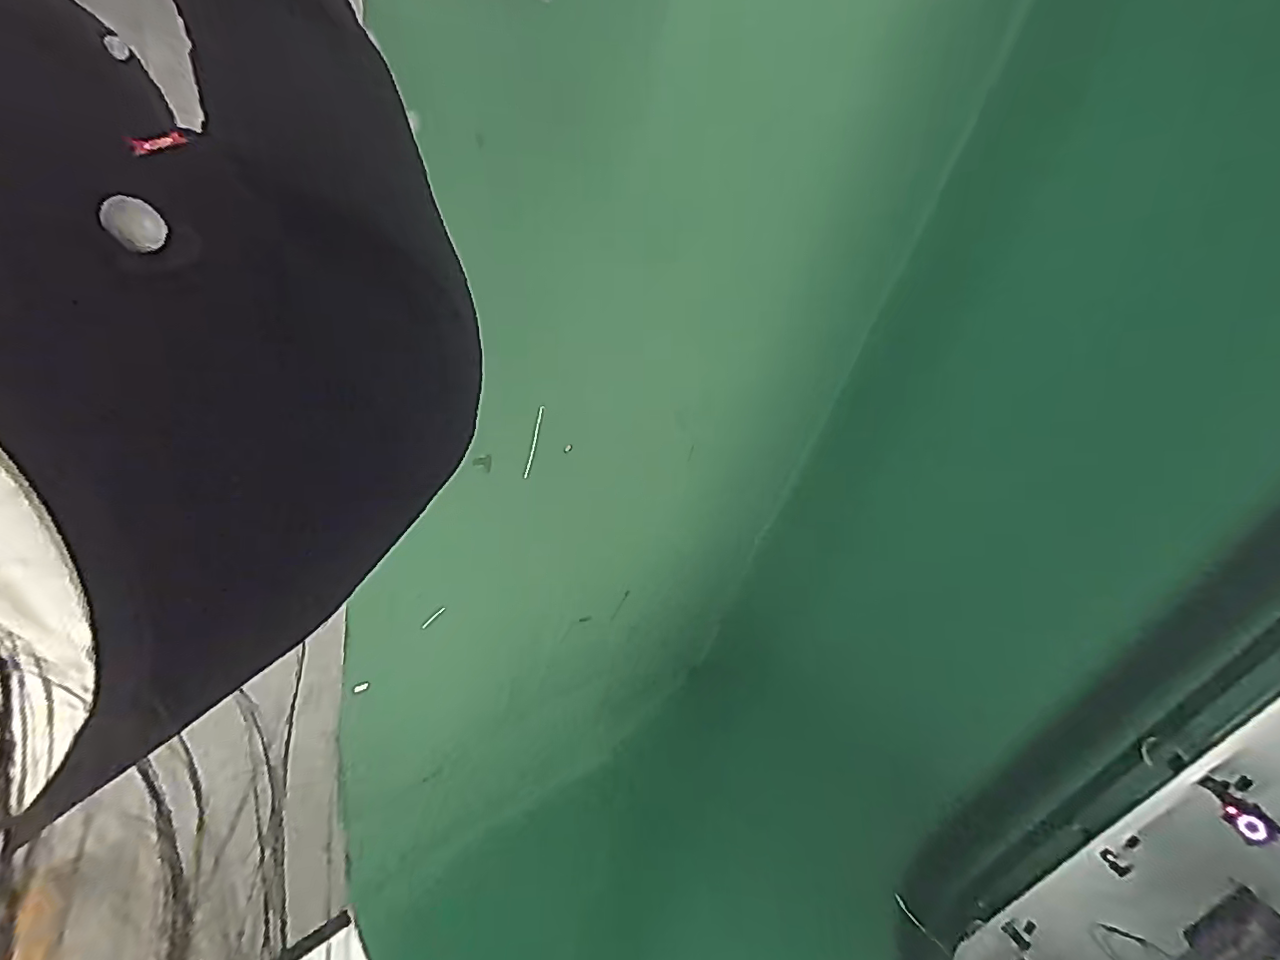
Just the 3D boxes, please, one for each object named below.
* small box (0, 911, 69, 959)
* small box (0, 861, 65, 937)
[{"bbox_3d":[-1.670,1.330,1.454,0.179,0.176,0.168,-9,128,-46],"label":"small box"},{"bbox_3d":[-1.778,1.249,1.543,0.179,0.176,0.168,-8,129,-48],"label":"small box"}]
